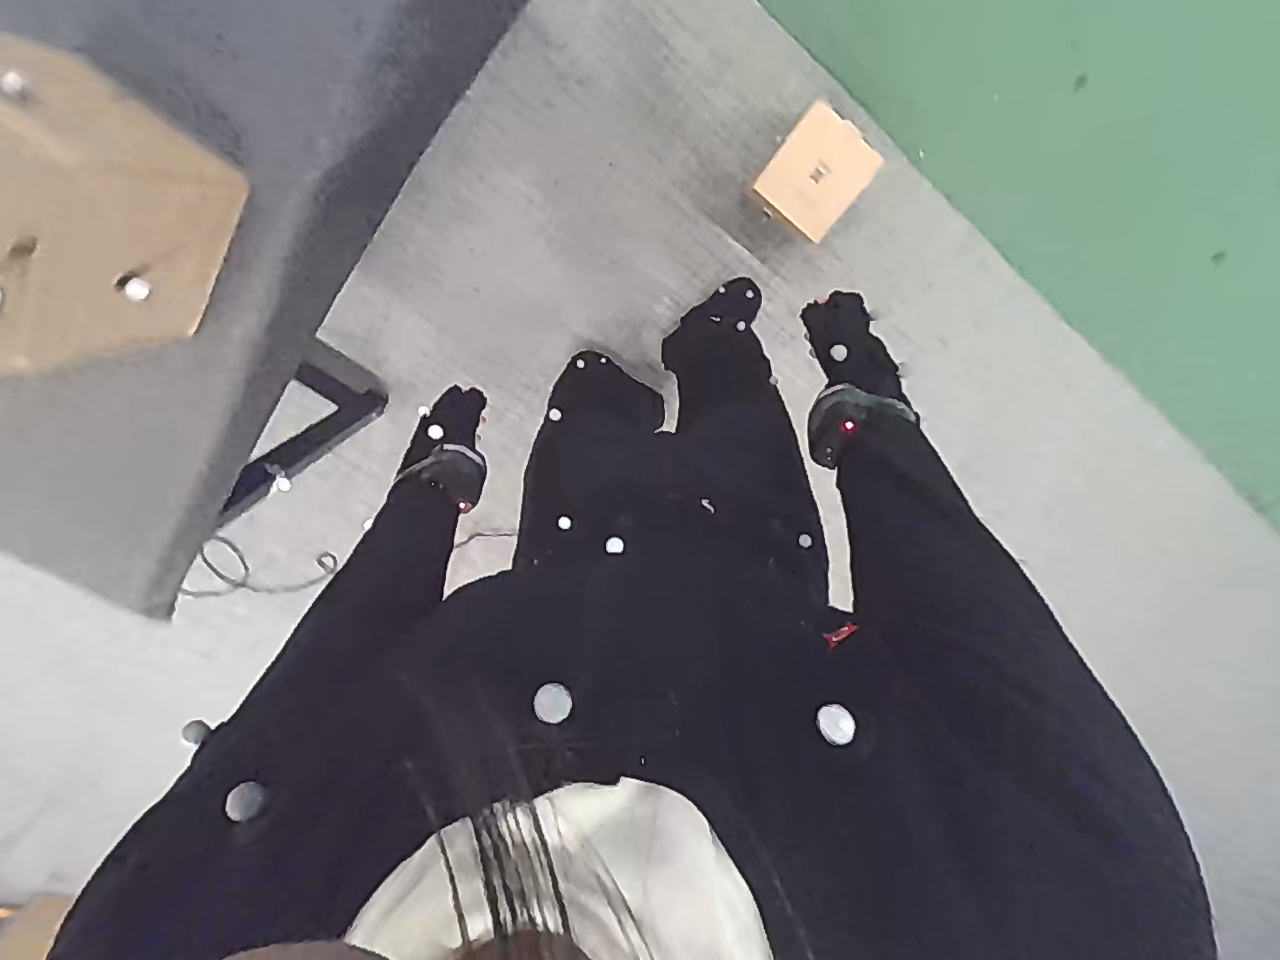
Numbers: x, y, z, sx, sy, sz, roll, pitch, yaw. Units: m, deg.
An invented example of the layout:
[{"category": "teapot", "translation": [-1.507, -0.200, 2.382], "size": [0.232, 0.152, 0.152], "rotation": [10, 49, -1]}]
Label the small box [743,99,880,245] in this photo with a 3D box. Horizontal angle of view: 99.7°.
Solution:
[{"category": "small box", "translation": [0.320, -0.588, 1.052], "size": [0.168, 0.176, 0.179], "rotation": [36, 113, -13]}]
